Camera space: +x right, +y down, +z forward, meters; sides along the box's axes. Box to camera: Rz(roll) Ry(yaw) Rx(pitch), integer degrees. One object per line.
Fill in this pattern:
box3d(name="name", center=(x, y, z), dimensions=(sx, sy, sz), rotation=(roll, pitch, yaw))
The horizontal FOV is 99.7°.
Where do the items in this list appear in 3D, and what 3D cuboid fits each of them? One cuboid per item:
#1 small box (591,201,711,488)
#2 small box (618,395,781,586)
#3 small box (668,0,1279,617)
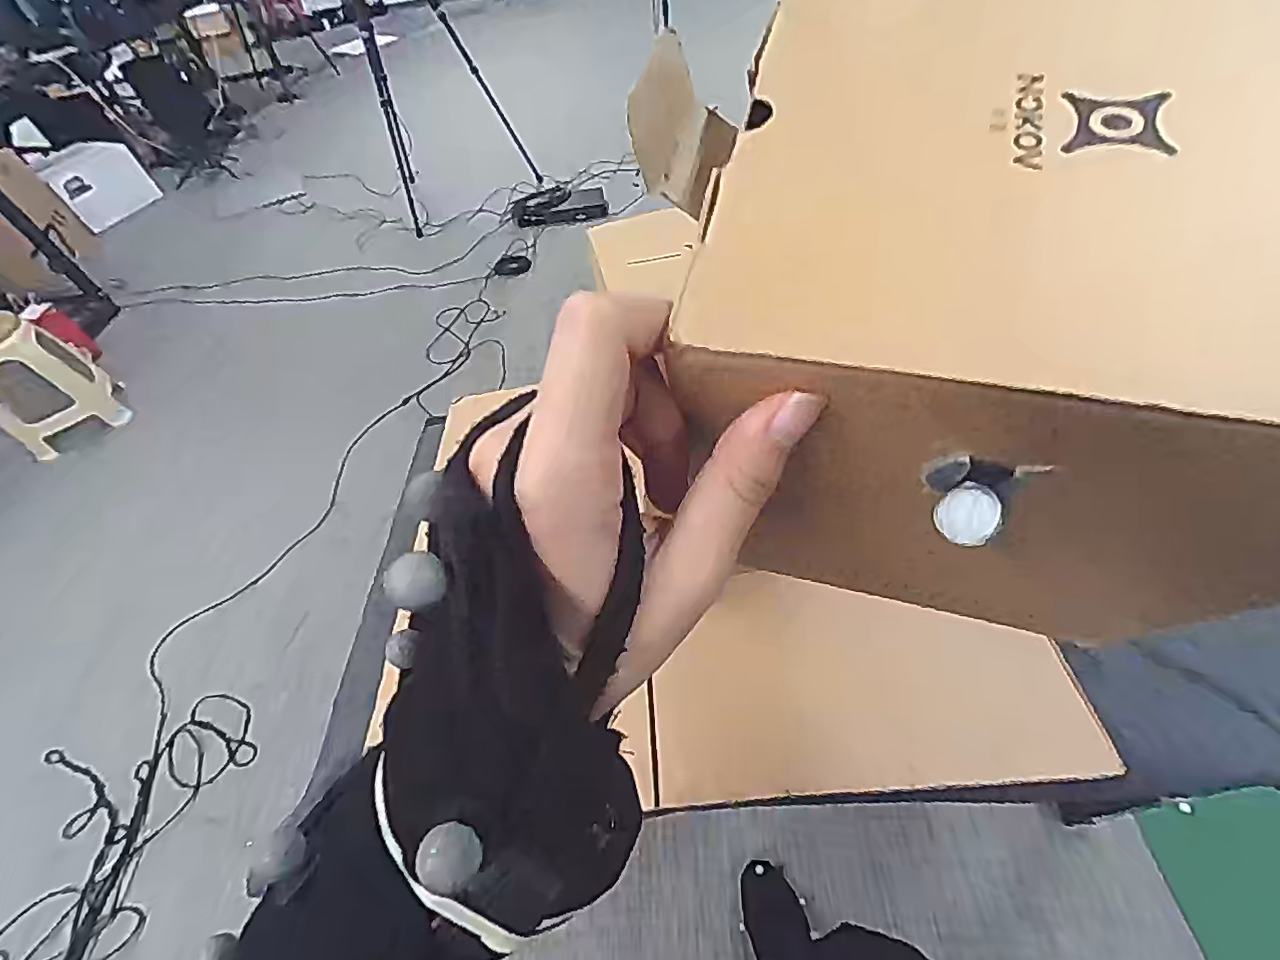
box3d(name="small box", center=(0.065, -0.117, 0.464), dimensions=(0.179, 0.176, 0.168), rotation=(-13, 48, -2))
box3d(name="small box", center=(0.081, -0.008, 0.585), dimensions=(0.179, 0.176, 0.168), rotation=(-12, 48, -2))
box3d(name="small box", center=(0.122, -0.055, 0.205), dimensions=(0.179, 0.176, 0.168), rotation=(11, 68, 14))
